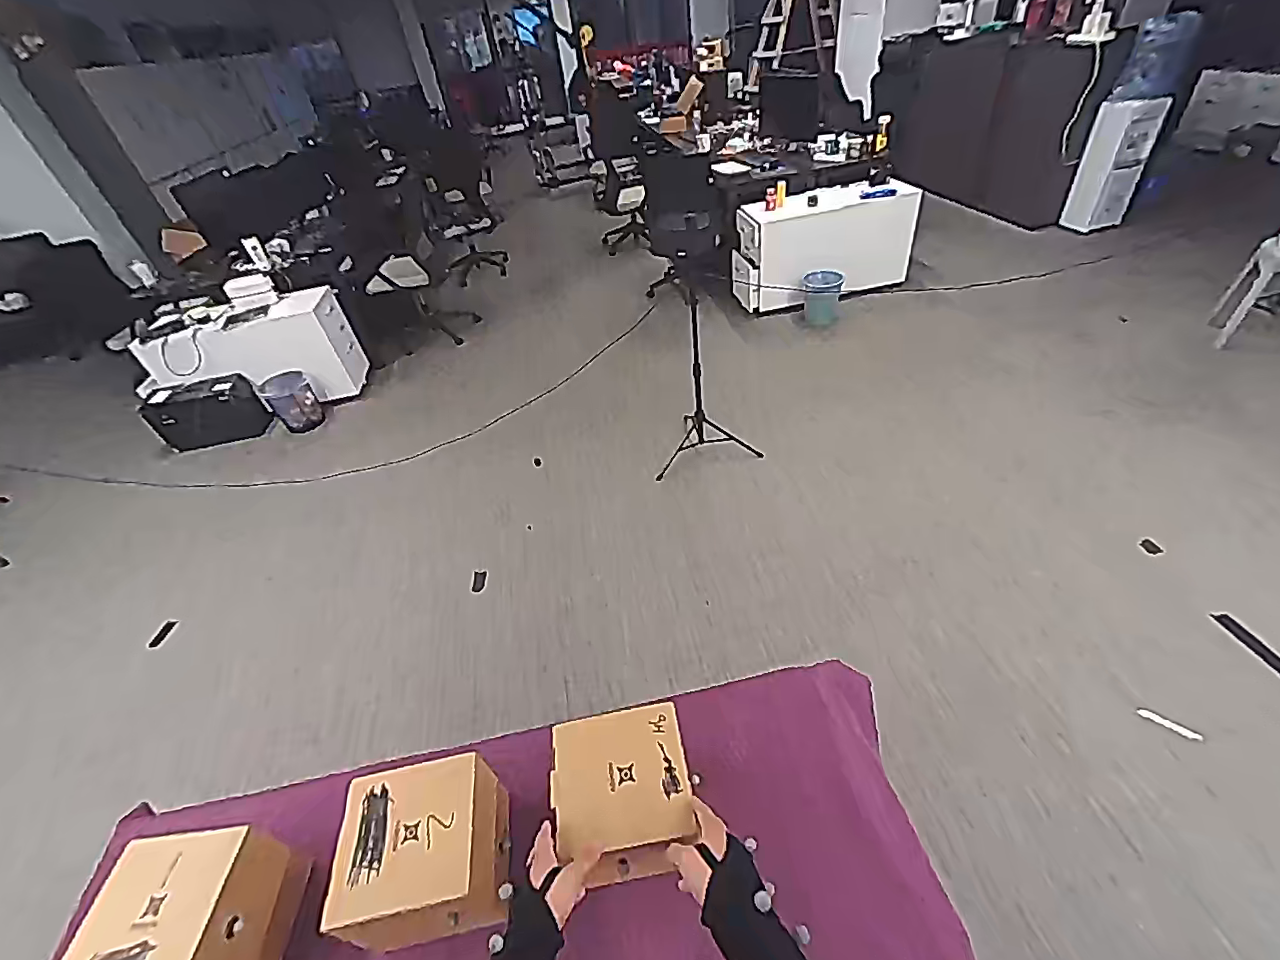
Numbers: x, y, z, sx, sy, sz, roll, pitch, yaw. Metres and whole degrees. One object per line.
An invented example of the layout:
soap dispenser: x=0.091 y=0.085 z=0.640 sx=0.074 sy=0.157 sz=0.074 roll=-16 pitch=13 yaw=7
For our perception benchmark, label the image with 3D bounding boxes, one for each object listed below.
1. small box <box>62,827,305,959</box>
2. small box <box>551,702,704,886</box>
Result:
small box: x=-0.576 y=0.580 z=0.698 sx=0.168 sy=0.176 sz=0.179 roll=-8 pitch=41 yaw=1
small box: x=-0.016 y=0.437 z=0.748 sx=0.179 sy=0.176 sz=0.168 roll=-11 pitch=45 yaw=0
